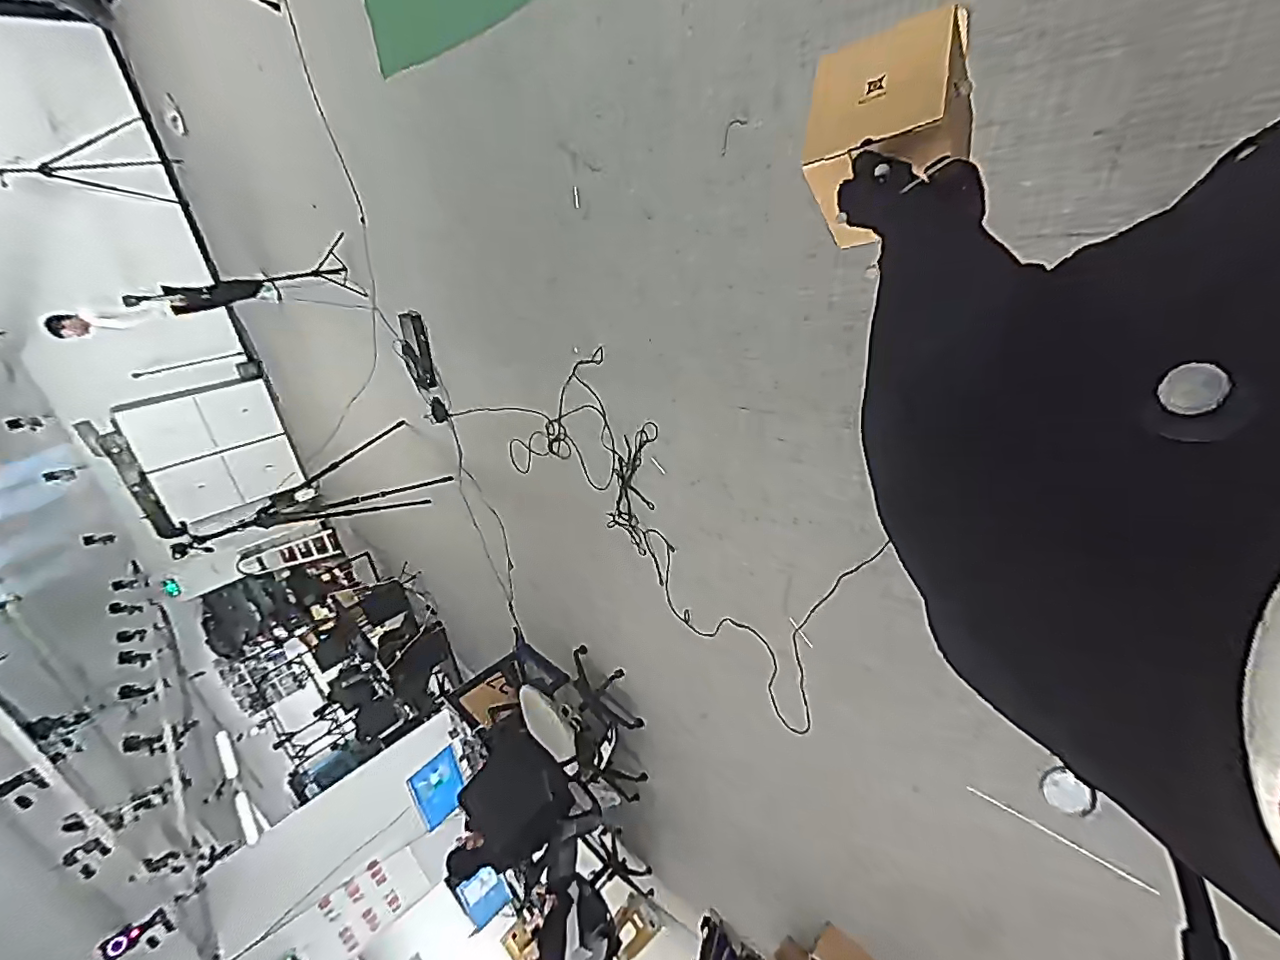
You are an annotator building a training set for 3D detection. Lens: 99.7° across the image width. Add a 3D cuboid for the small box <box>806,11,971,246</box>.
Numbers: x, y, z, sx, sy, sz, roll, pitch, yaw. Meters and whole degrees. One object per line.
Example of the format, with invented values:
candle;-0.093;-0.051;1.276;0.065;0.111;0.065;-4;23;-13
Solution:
small box;0.343;-0.457;0.734;0.168;0.176;0.179;1;73;38
